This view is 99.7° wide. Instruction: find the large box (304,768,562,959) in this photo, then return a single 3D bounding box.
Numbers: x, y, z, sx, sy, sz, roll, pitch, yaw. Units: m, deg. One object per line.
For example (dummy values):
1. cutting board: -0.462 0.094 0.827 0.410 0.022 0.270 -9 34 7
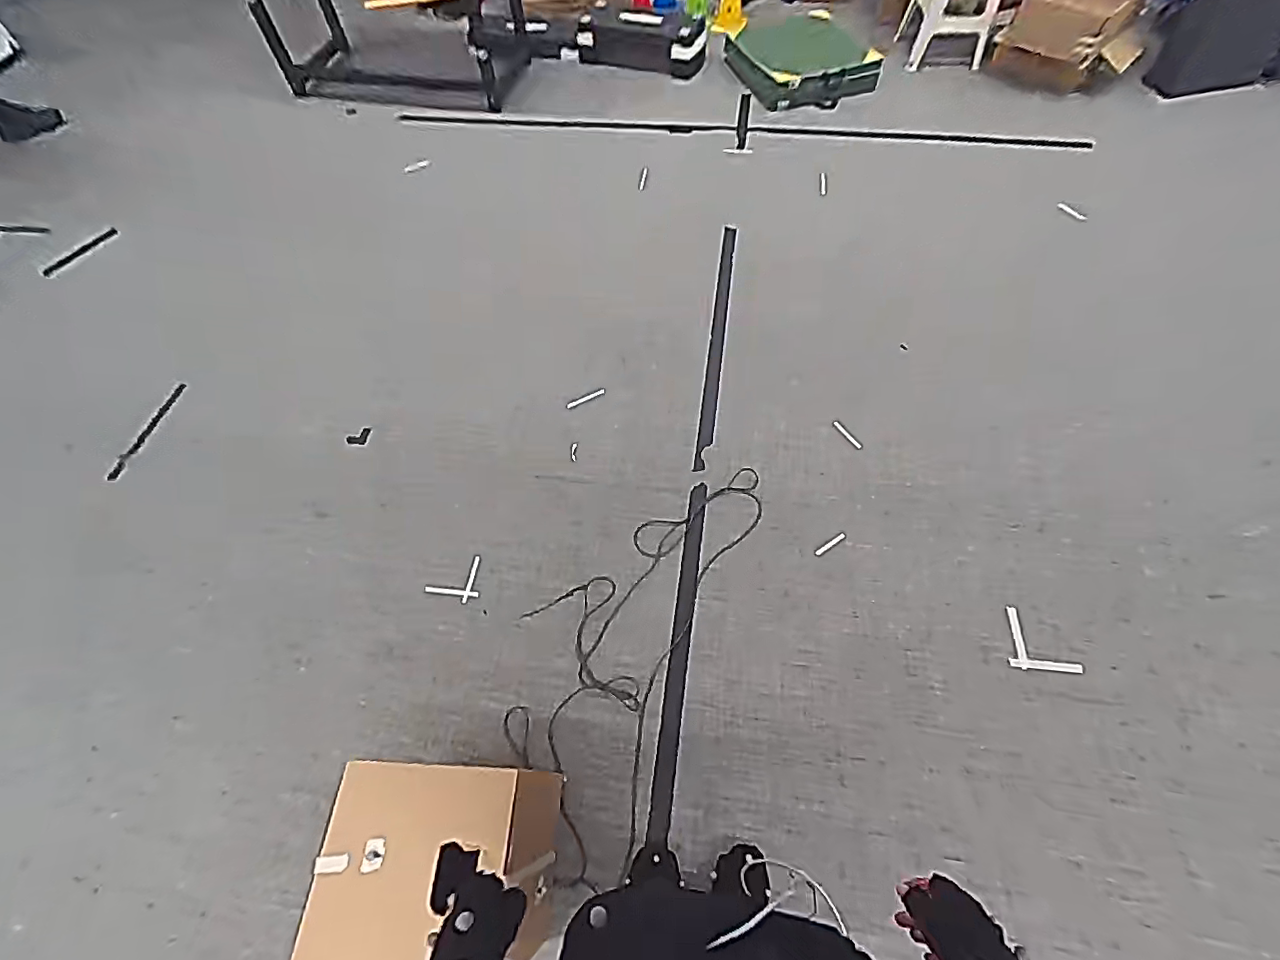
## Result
1. large box: -0.353 0.734 1.040 0.320 0.408 0.320 2 61 5
